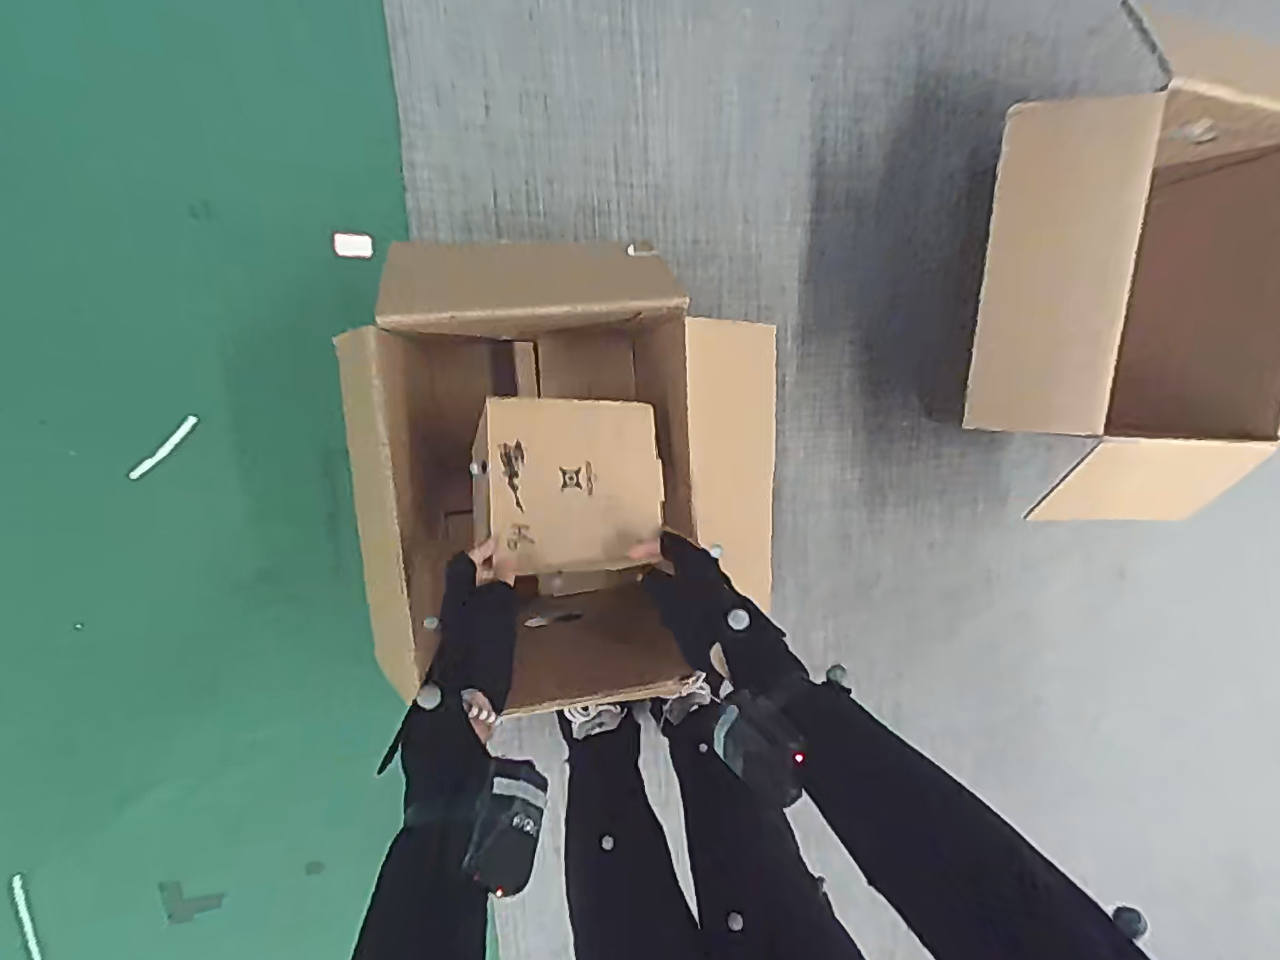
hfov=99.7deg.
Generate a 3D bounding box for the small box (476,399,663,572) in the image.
[{"bbox_3d":[-0.089,0.018,0.621,0.179,0.176,0.168,1,78,-21],"label":"small box"}]
